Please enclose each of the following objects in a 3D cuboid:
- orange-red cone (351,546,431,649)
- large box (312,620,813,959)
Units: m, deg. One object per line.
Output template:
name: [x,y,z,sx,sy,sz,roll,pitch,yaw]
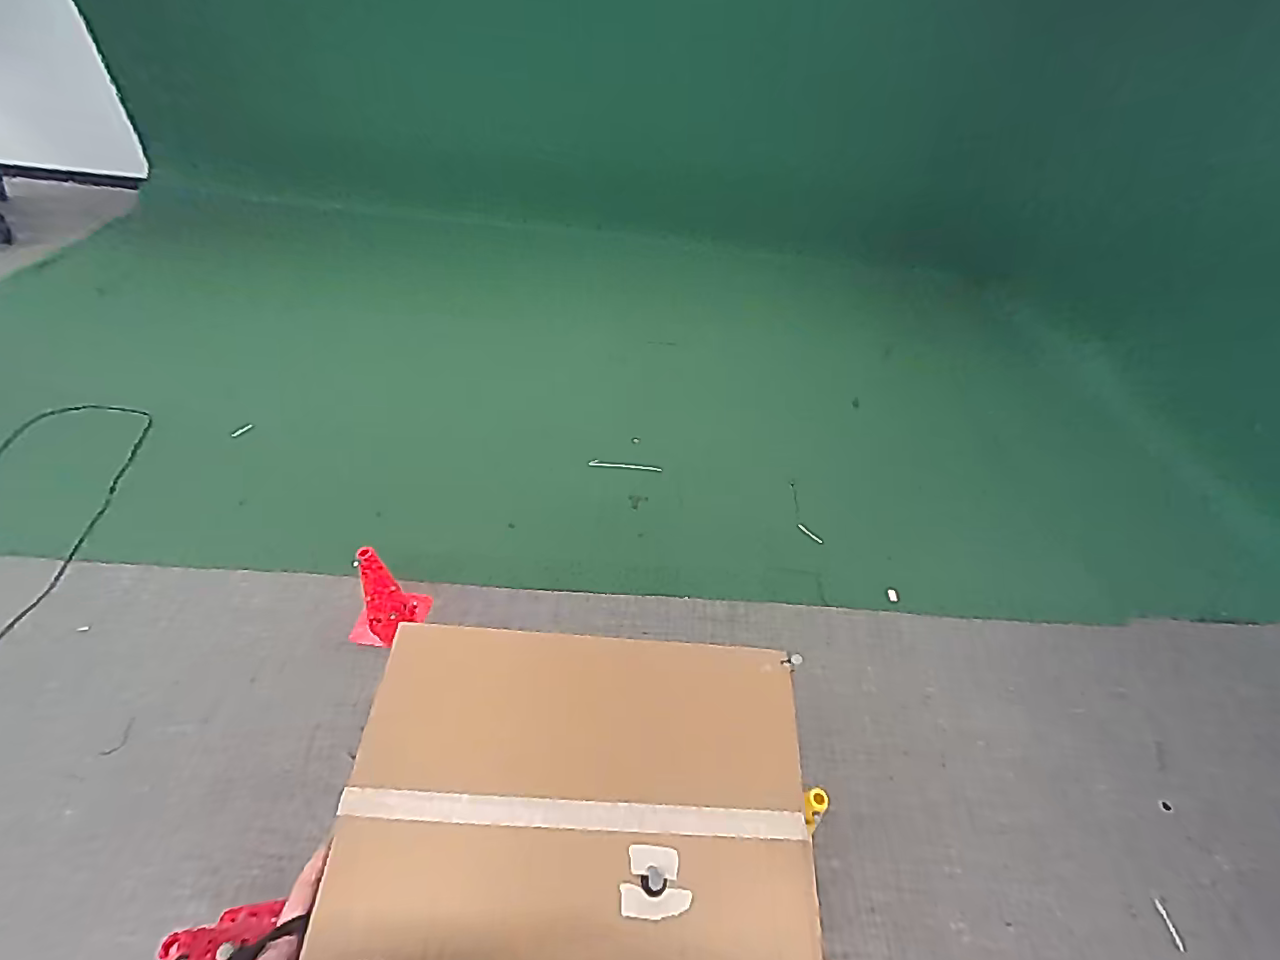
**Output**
orange-red cone: [-0.785,0.324,1.624,0.199,0.360,0.198,9,44,2]
large box: [-0.066,0.369,0.612,0.408,0.320,0.320,5,57,-3]
